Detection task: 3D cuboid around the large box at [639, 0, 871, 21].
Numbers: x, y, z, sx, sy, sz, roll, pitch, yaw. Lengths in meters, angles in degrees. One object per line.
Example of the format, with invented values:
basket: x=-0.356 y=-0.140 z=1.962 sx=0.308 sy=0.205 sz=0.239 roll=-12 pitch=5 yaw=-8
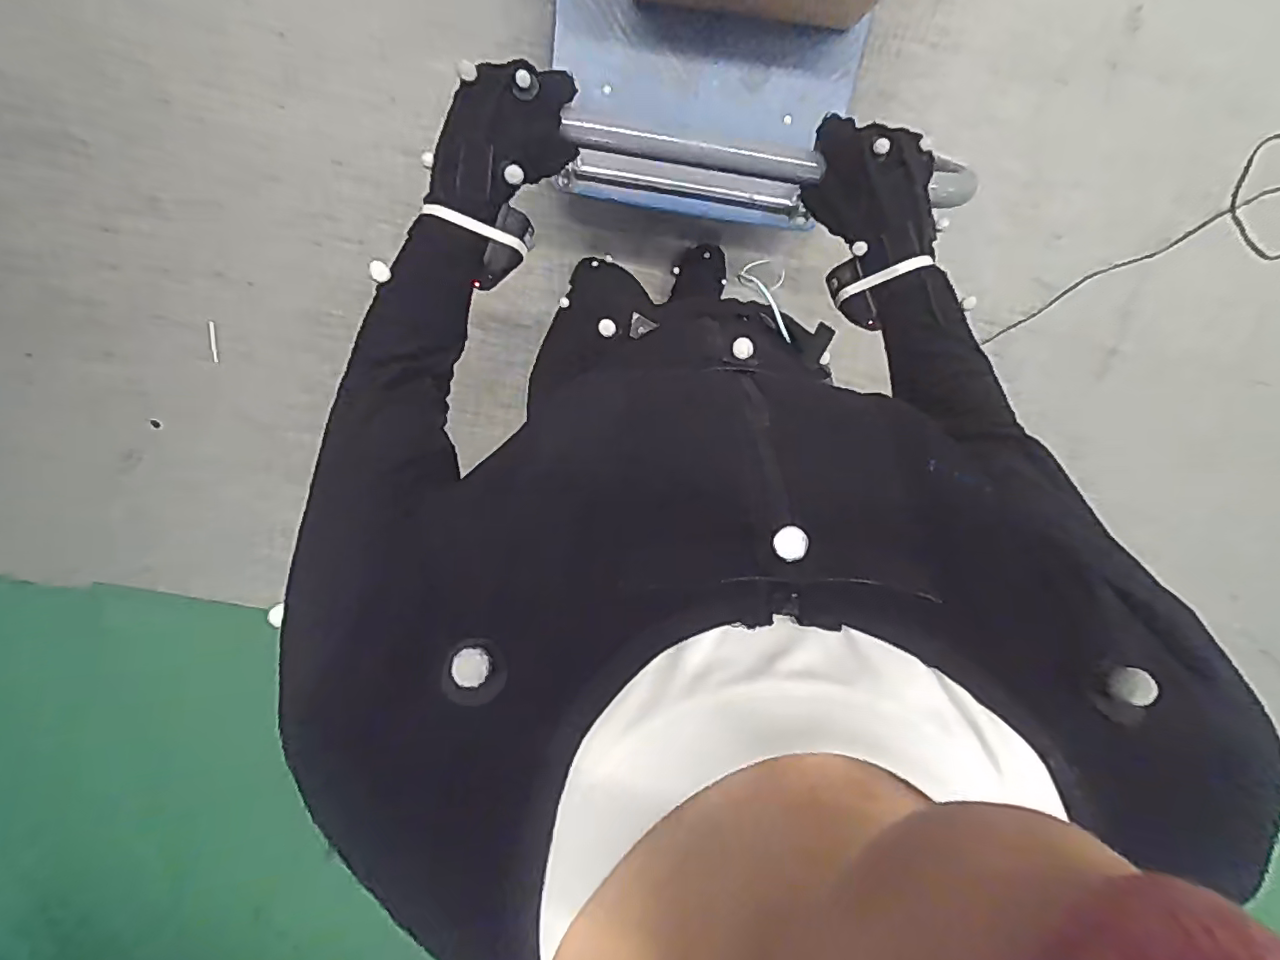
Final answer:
large box: x=0.199 y=-0.927 z=0.794 sx=0.408 sy=0.320 sz=0.320 roll=6 pitch=115 yaw=0
